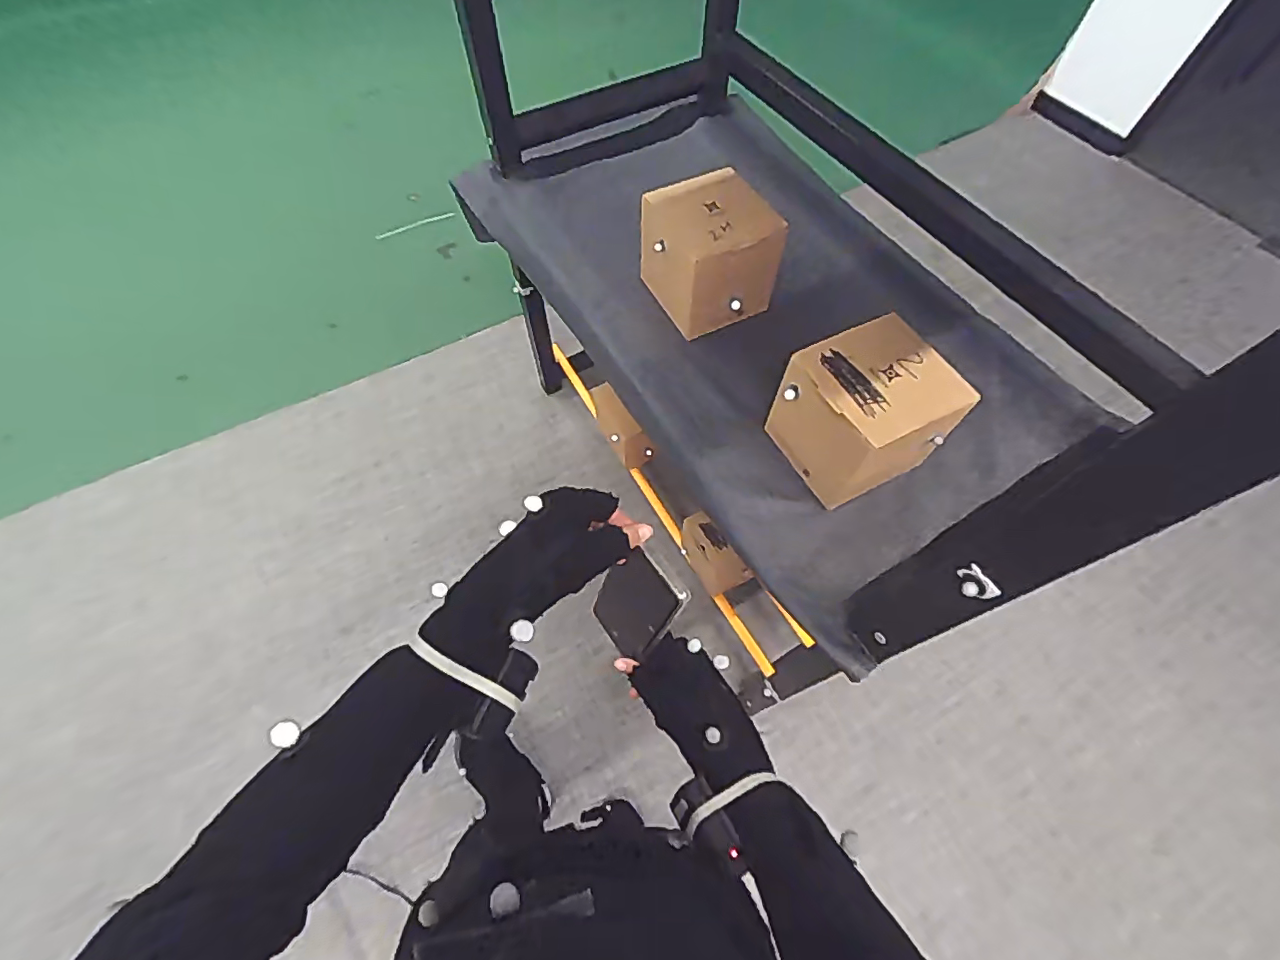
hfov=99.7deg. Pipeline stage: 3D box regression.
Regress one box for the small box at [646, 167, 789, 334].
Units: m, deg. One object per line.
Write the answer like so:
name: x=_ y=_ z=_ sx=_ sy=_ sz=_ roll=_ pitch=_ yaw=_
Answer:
small box: x=0.116 y=-0.380 z=0.907 sx=0.168 sy=0.176 sz=0.179 roll=-24 pitch=65 yaw=-13

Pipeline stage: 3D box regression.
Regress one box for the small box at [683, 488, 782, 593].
small box: x=0.217 y=0.154 z=1.328 sx=0.179 sy=0.176 sz=0.168 roll=-24 pitch=65 yaw=-12
